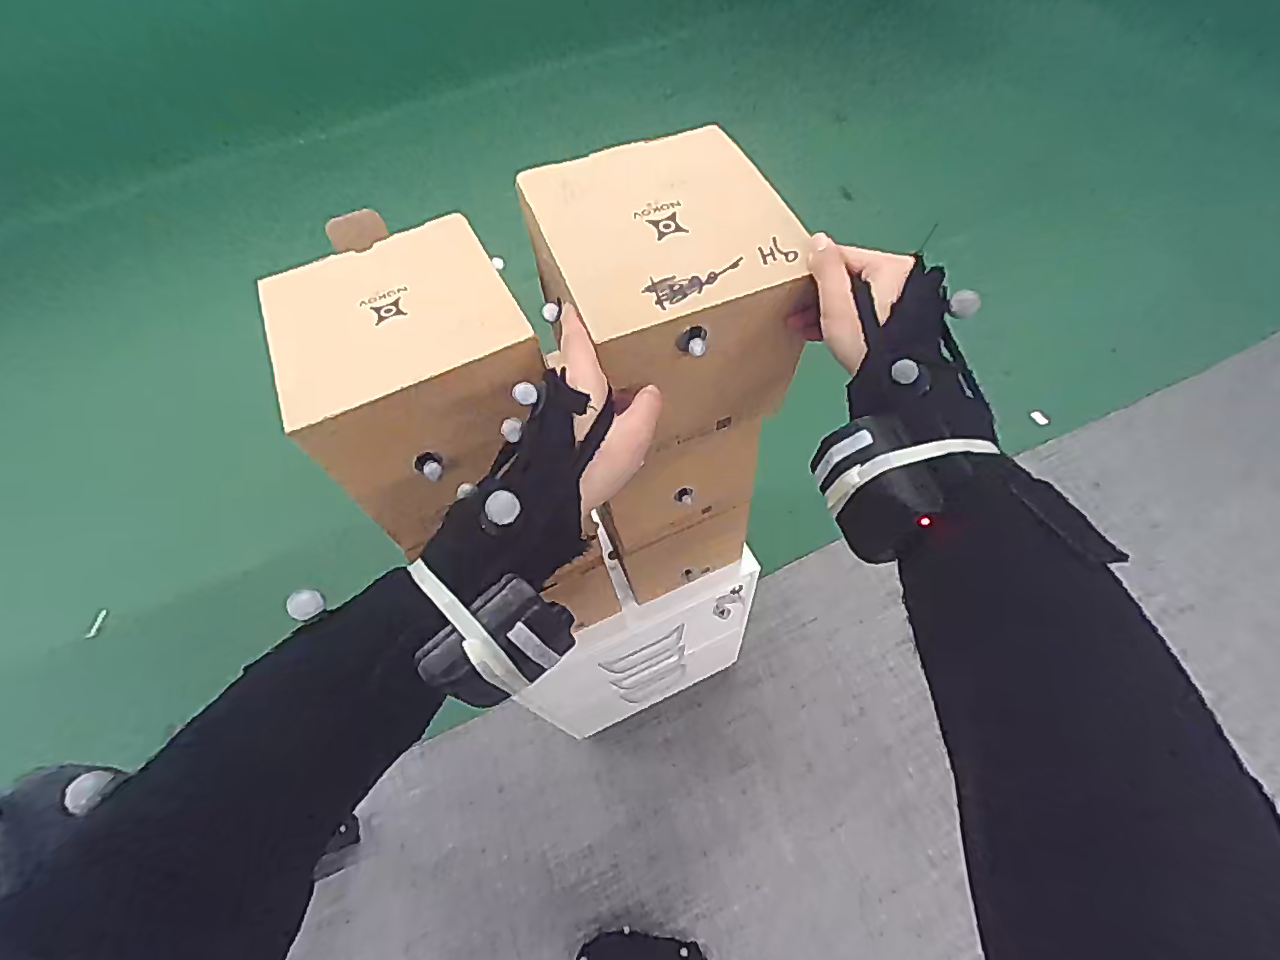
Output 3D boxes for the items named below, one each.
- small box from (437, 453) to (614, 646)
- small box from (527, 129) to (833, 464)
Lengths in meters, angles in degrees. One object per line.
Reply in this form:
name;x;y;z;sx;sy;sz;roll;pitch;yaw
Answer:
small box;-0.144;0.102;0.718;0.168;0.176;0.179;-22;58;-9
small box;0.020;-0.143;0.444;0.168;0.176;0.179;-19;64;-10
